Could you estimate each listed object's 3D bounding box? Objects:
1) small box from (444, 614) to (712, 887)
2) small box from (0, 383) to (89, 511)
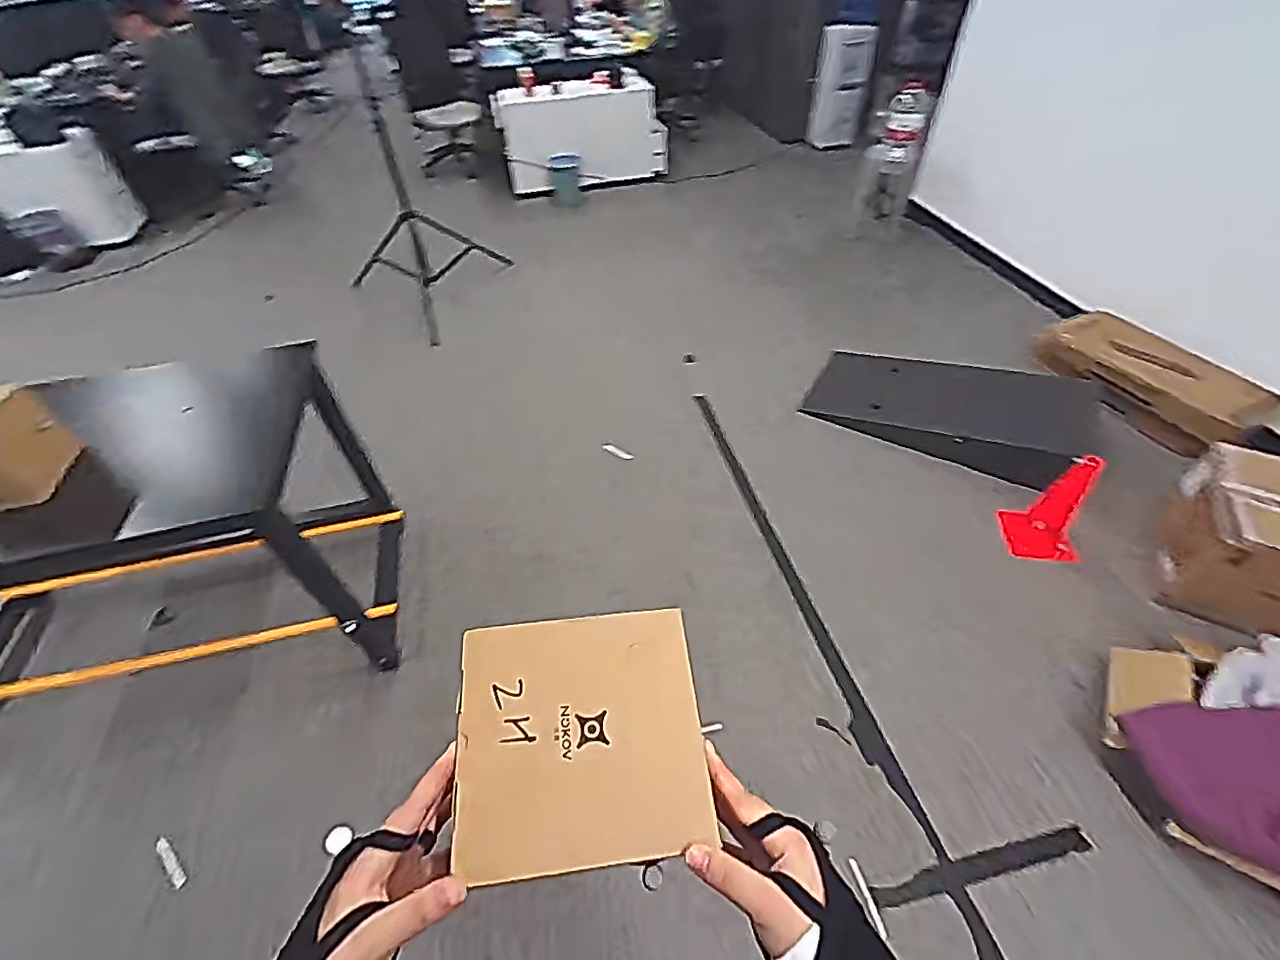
[{"bbox_3d":[-0.051,0.227,0.458,0.179,0.176,0.168,-5,56,-6],"label":"small box"},{"bbox_3d":[-1.248,-0.060,1.052,0.168,0.176,0.179,-13,48,-7],"label":"small box"}]
